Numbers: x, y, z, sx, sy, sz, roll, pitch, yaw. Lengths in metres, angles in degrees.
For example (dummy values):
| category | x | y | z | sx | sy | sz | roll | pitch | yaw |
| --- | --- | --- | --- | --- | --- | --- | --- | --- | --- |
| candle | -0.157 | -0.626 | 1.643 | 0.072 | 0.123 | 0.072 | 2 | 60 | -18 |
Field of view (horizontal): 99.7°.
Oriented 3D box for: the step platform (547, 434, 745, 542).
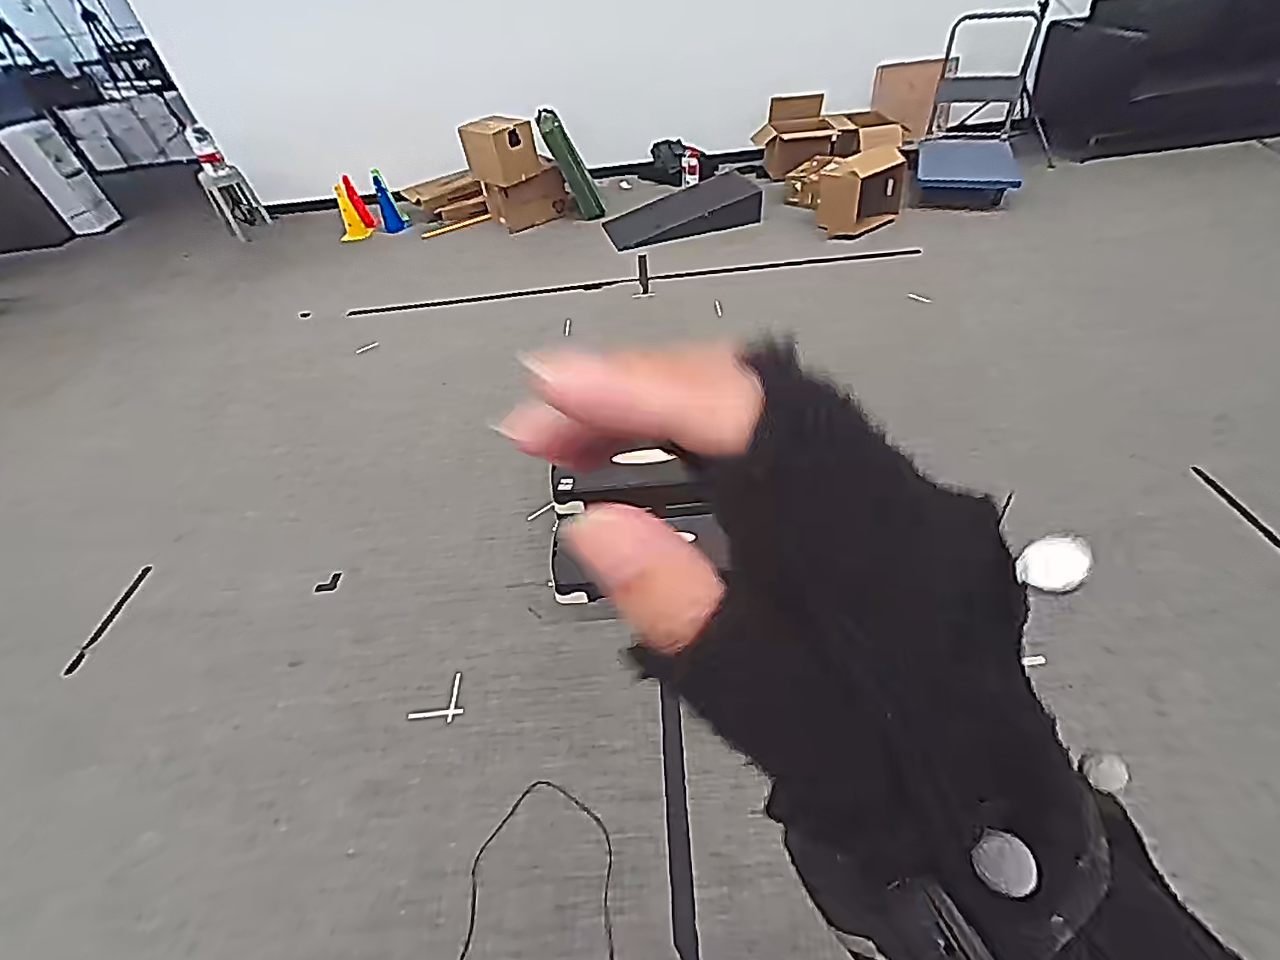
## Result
| category | x | y | z | sx | sy | sz | roll | pitch | yaw |
| --- | --- | --- | --- | --- | --- | --- | --- | --- | --- |
| step platform | 0.020 | 0.021 | 1.895 | 0.684 | 0.204 | 0.286 | -5 | 46 | 1 |
